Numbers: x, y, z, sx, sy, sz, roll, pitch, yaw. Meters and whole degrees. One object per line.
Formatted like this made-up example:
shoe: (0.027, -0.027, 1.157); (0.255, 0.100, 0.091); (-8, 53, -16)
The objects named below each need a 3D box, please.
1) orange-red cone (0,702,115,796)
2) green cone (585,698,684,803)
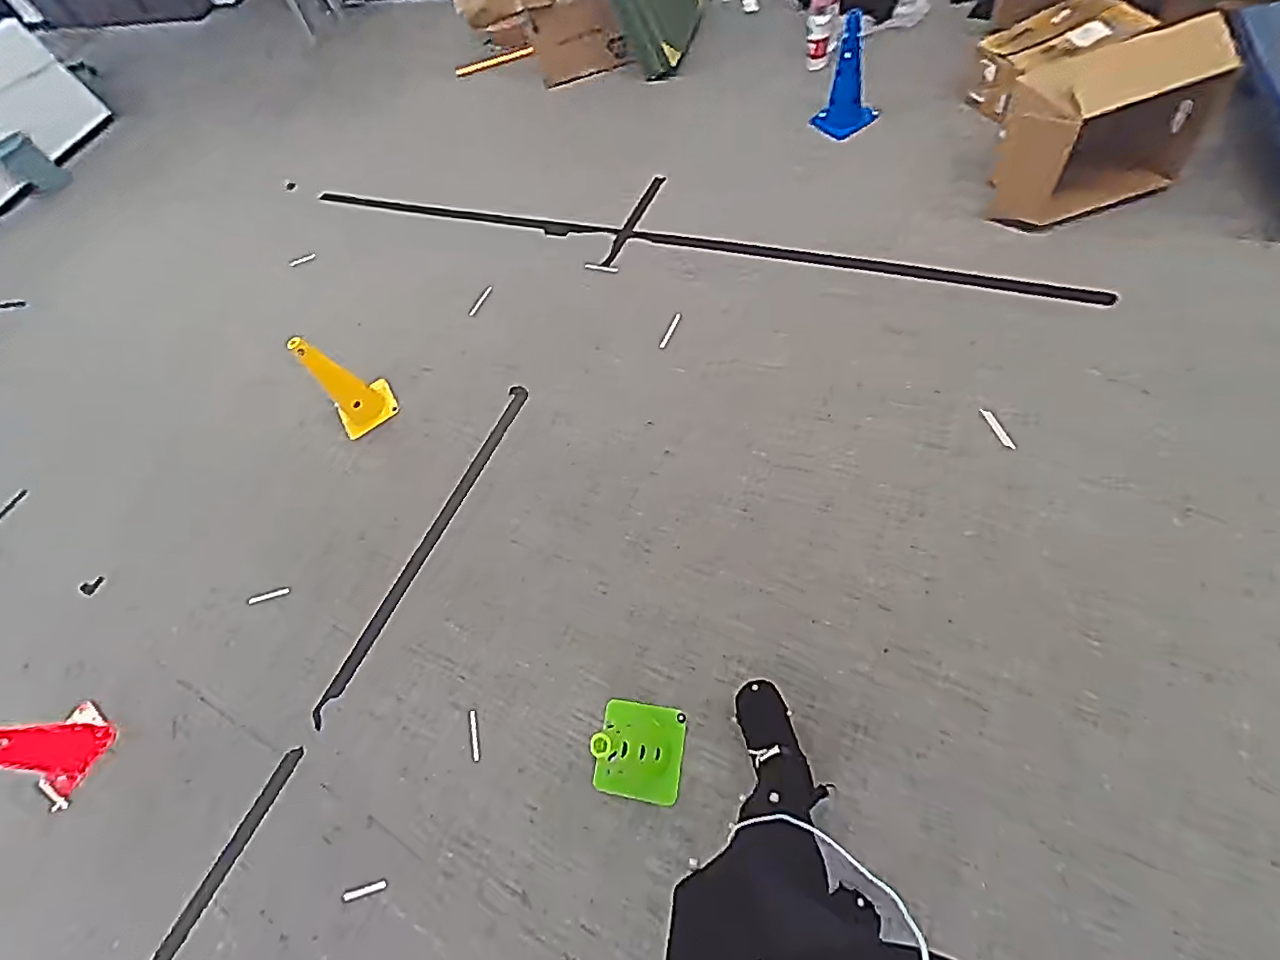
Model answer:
orange-red cone: (-1.692, 0.705, 1.442); (0.198, 0.360, 0.199); (26, 70, 24)
green cone: (-0.042, 0.553, 1.116); (0.200, 0.368, 0.202); (3, 65, 16)
